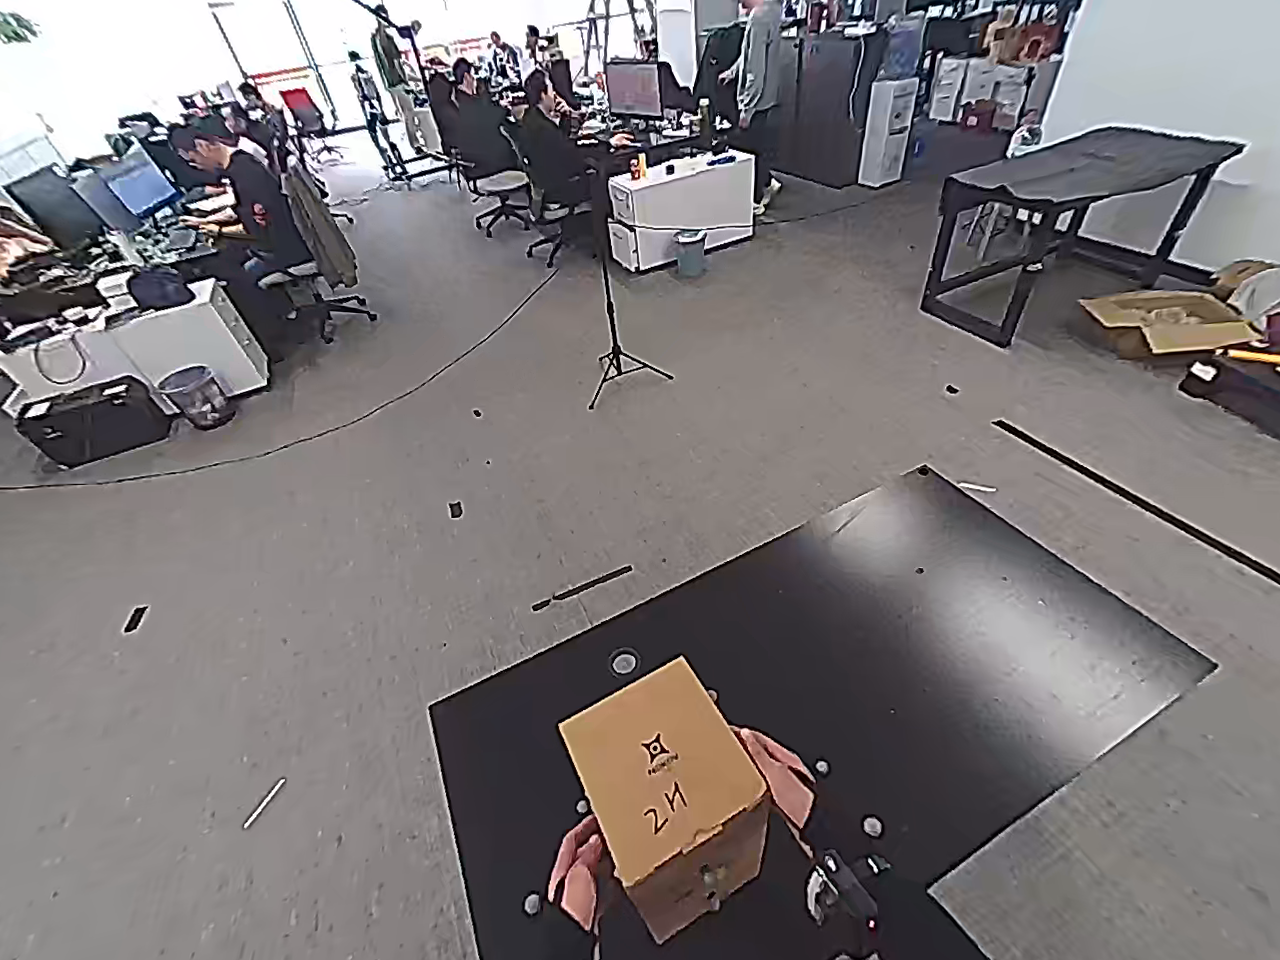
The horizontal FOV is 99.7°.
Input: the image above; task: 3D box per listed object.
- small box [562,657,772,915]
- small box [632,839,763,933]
[{"bbox_3d":[0.029,0.347,0.620,0.168,0.176,0.179,-24,45,-15],"label":"small box"},{"bbox_3d":[0.048,0.469,0.730,0.168,0.176,0.179,-24,45,-16],"label":"small box"}]
